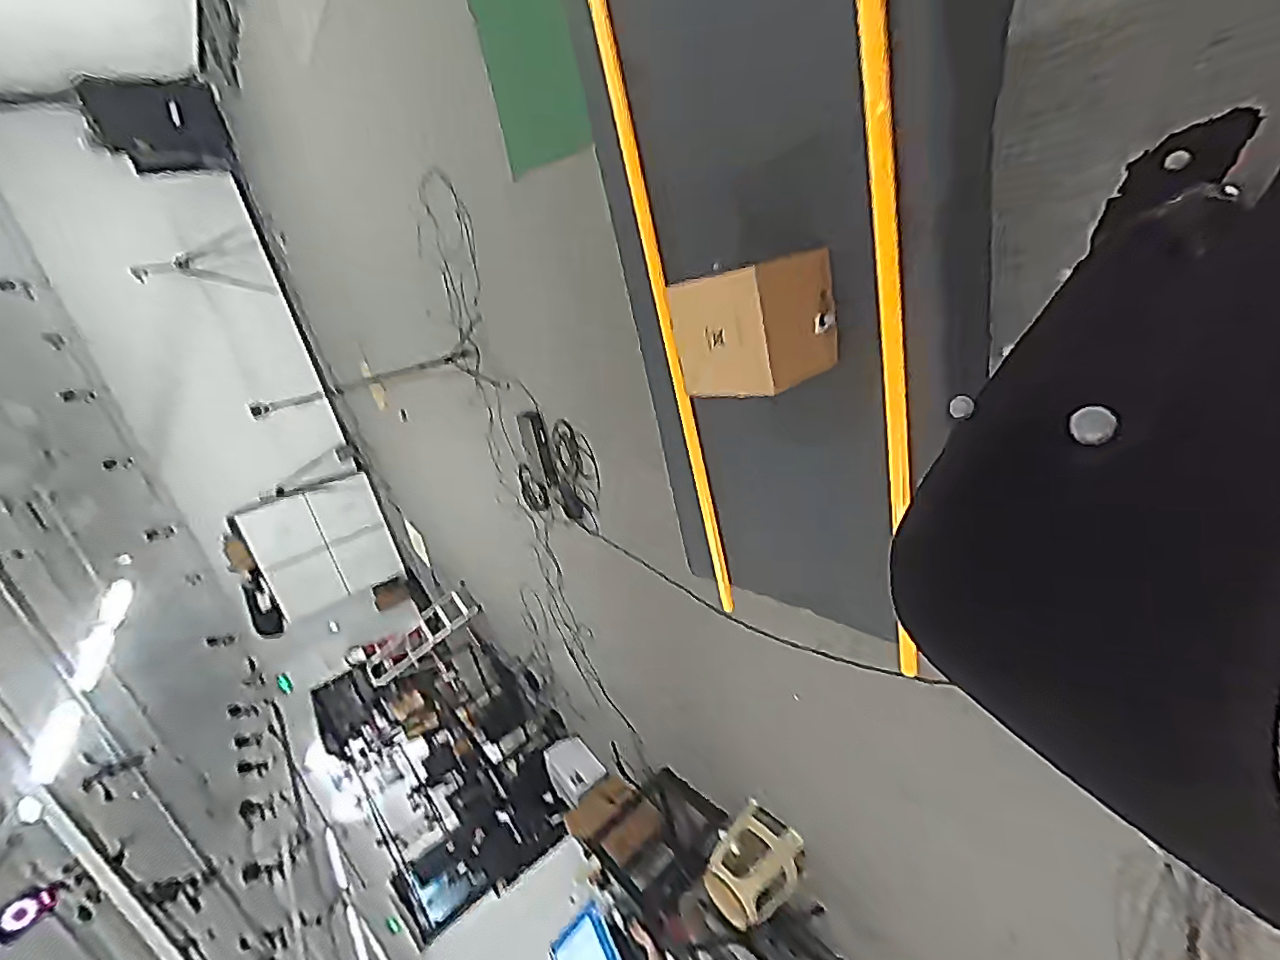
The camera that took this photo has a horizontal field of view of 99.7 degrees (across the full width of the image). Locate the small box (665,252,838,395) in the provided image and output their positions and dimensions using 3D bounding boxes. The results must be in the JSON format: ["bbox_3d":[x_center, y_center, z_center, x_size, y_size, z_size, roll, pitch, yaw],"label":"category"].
[{"bbox_3d":[0.169,-0.230,0.812,0.179,0.176,0.168,9,120,51],"label":"small box"}]
